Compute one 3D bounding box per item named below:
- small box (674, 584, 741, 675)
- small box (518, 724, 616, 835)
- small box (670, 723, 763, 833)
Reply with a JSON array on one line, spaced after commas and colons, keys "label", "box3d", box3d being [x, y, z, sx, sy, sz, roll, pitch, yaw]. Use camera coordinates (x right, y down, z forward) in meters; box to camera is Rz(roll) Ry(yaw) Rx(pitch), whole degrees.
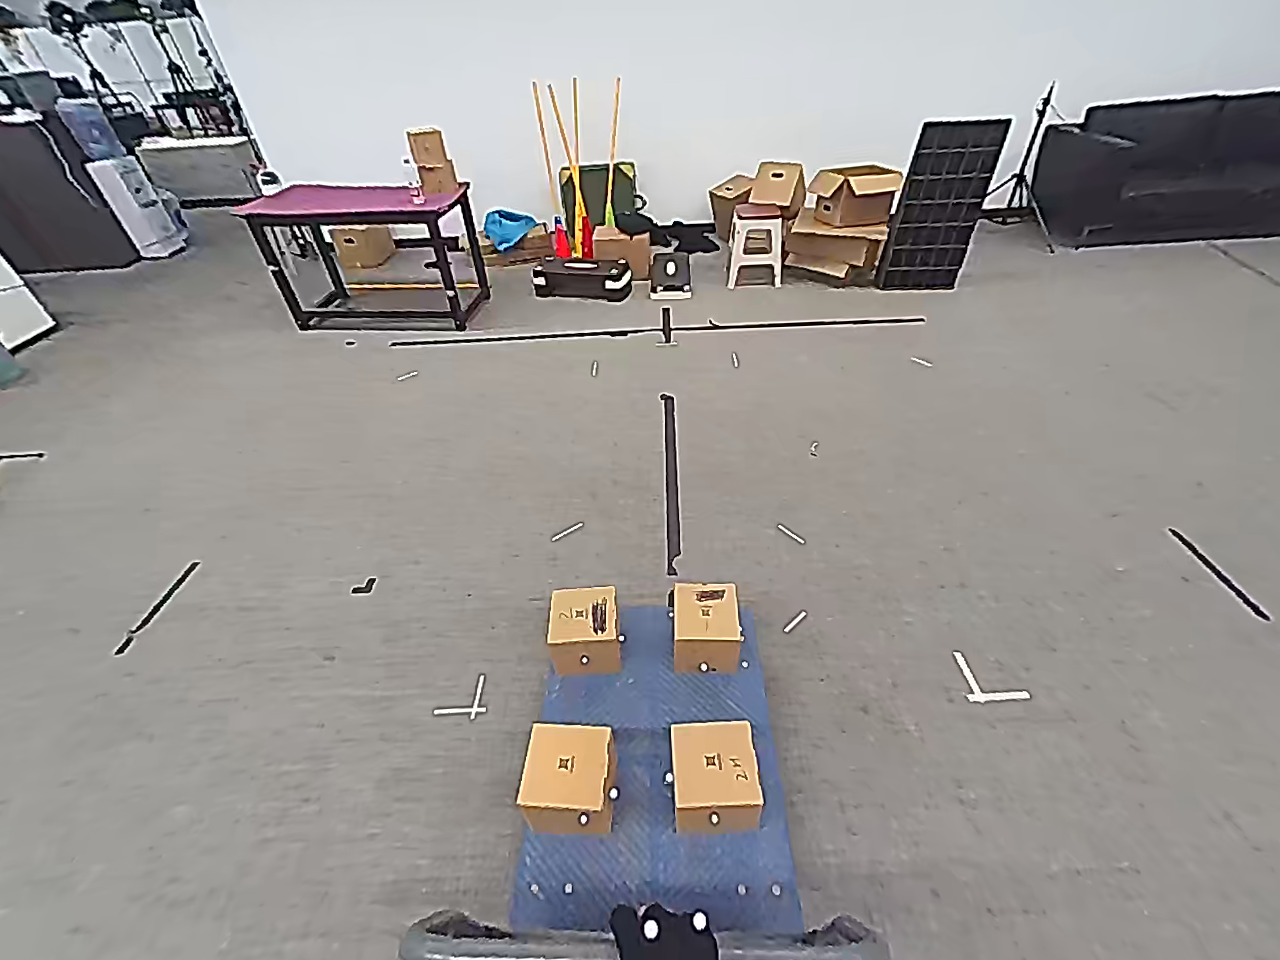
[{"label": "small box", "box3d": [0.176, 0.399, 1.449, 0.168, 0.176, 0.179, 0, 42, 4]}, {"label": "small box", "box3d": [-0.150, 0.655, 1.181, 0.179, 0.176, 0.168, 1, 41, 3]}, {"label": "small box", "box3d": [0.159, 0.645, 1.168, 0.179, 0.176, 0.168, -3, 41, 1]}]
